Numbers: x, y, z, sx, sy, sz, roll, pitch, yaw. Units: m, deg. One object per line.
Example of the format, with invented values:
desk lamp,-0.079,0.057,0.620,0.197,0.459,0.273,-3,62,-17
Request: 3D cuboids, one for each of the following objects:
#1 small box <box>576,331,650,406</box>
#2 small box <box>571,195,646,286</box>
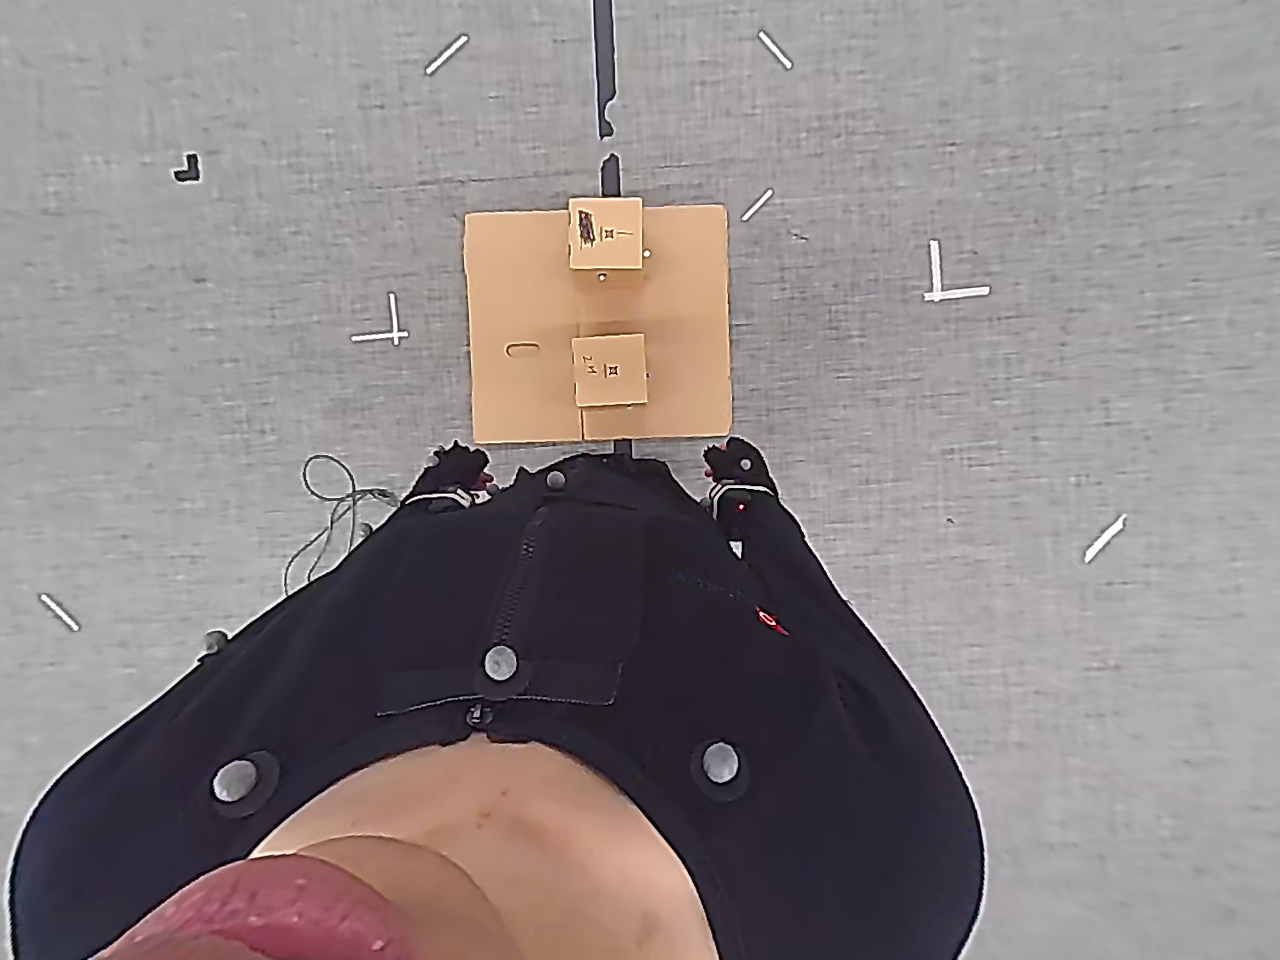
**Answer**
small box,-0.064,-0.278,1.380,0.179,0.176,0.168,-3,93,2
small box,-0.074,-0.595,1.362,0.179,0.176,0.168,0,93,1
